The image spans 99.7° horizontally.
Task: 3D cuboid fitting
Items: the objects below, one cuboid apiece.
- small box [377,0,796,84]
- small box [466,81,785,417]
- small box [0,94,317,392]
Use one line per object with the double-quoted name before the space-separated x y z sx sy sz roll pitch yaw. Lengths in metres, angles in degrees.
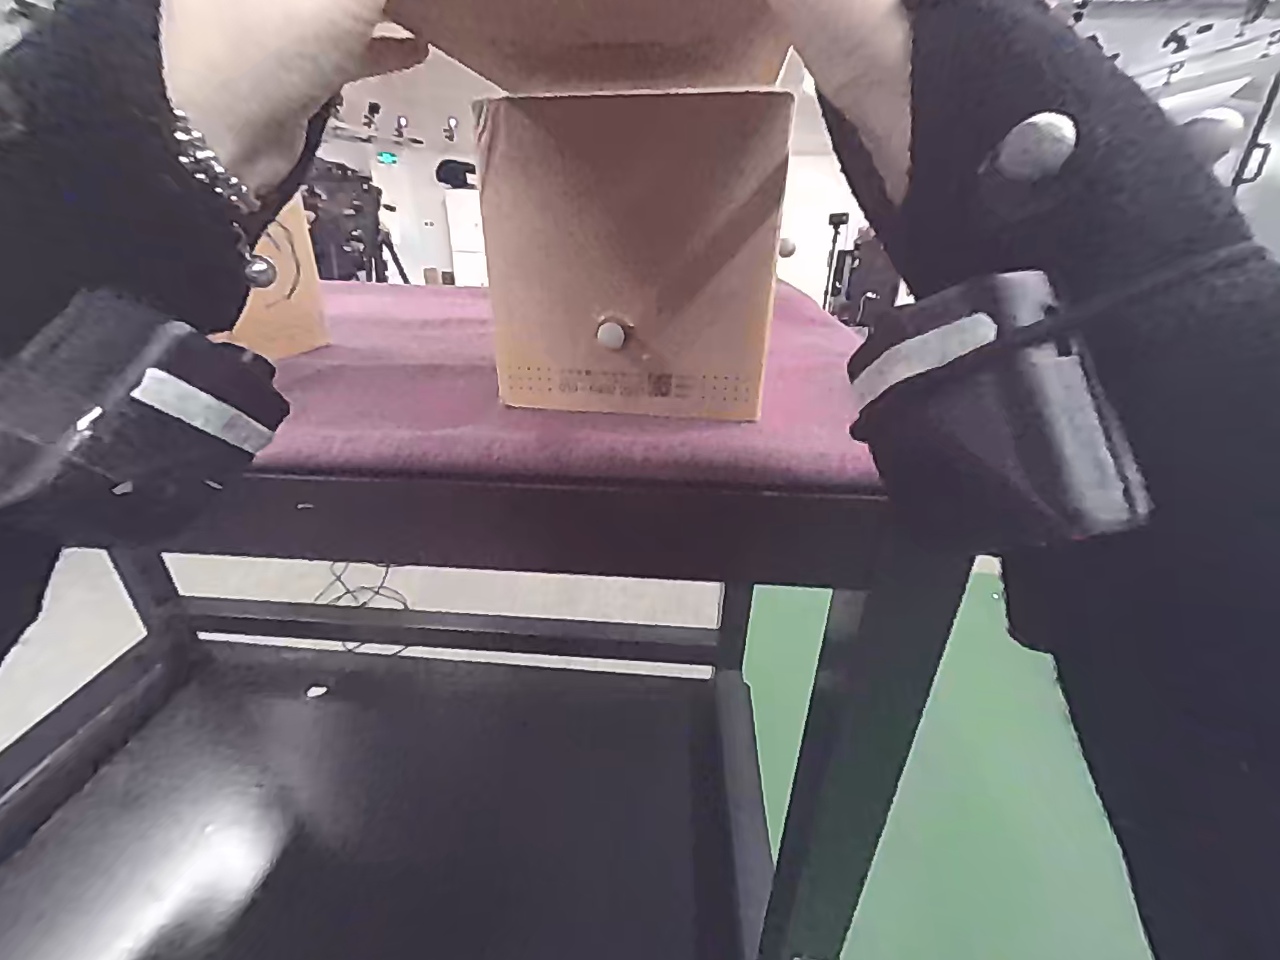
"small box" -0.017 -0.277 0.214 0.168 0.176 0.179 2 26 8
"small box" 0.003 -0.155 0.373 0.168 0.176 0.179 4 28 9
"small box" -0.381 -0.175 0.411 0.168 0.176 0.179 5 26 8
